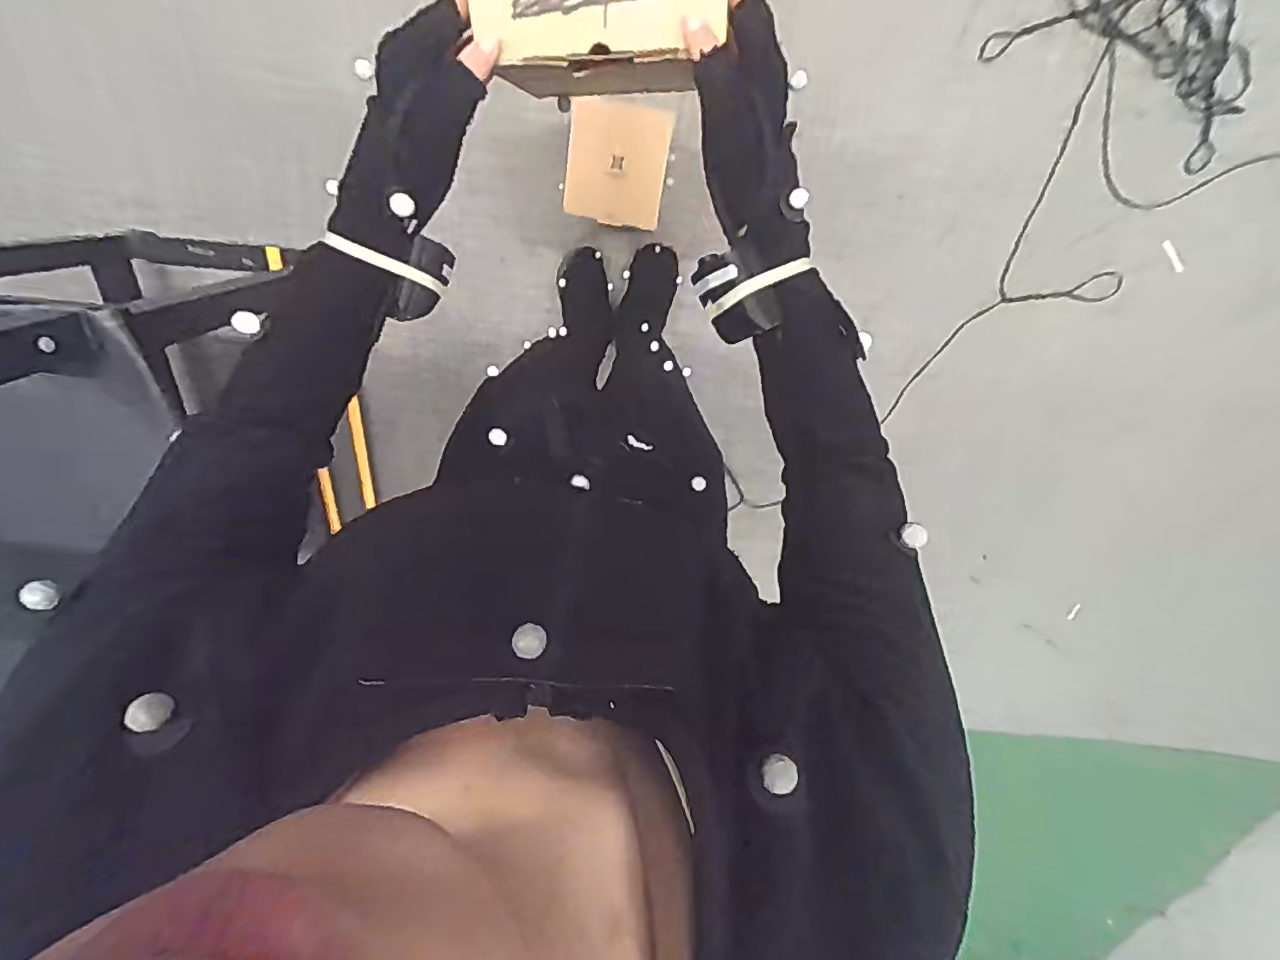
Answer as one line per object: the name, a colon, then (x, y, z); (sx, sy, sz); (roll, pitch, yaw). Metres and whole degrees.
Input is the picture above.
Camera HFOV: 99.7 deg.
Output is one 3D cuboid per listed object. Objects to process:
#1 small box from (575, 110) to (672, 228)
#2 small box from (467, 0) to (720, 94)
small box: (-0.034, -0.638, 1.121); (0.168, 0.176, 0.179); (10, 118, -4)
small box: (-0.025, -0.390, 0.385); (0.168, 0.176, 0.179); (0, 118, 5)
